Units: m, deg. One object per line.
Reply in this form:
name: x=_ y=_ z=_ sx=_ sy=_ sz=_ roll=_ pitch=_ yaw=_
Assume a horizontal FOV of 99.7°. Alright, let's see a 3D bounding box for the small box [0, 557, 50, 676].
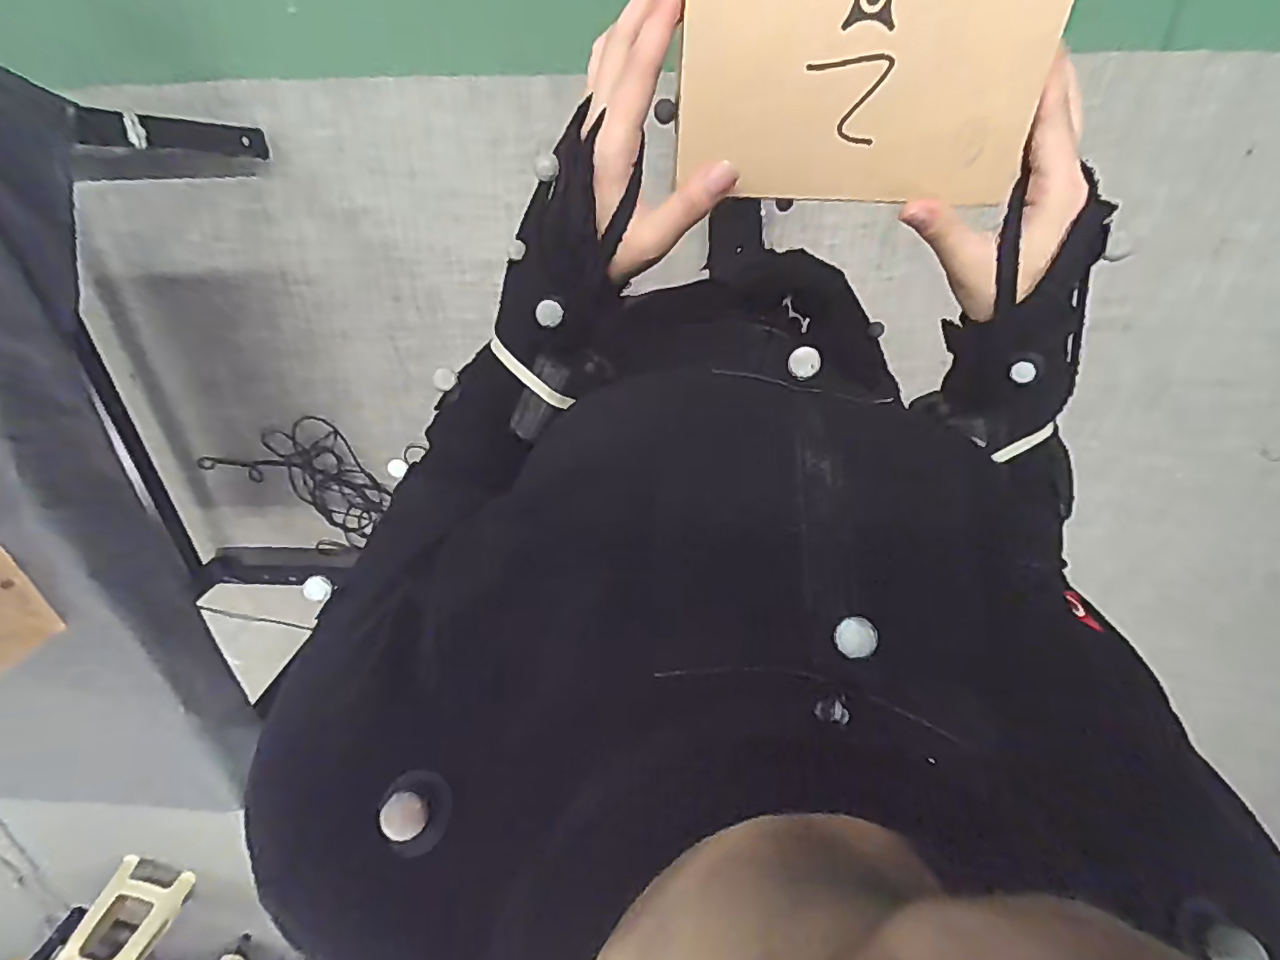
small box: x=-0.982 y=0.205 z=0.734 sx=0.179 sy=0.176 sz=0.168 roll=-4 pitch=119 yaw=7
